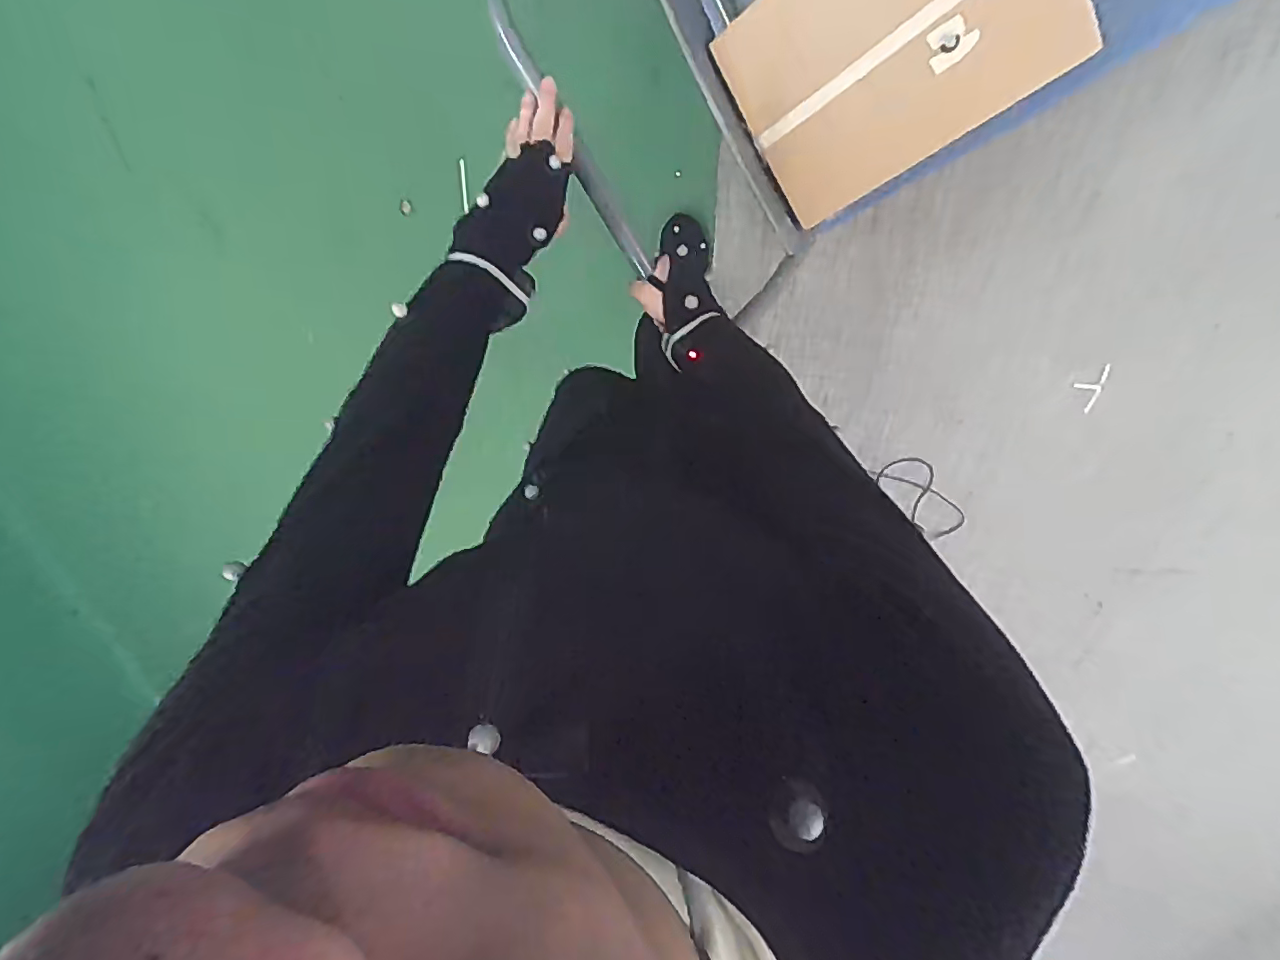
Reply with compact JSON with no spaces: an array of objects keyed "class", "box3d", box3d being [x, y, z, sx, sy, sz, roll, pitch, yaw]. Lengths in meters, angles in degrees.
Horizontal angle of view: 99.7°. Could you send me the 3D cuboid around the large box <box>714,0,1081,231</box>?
[{"class":"large box","box3d":[0.394,-0.684,0.875,0.408,0.320,0.320,-20,115,37]}]
